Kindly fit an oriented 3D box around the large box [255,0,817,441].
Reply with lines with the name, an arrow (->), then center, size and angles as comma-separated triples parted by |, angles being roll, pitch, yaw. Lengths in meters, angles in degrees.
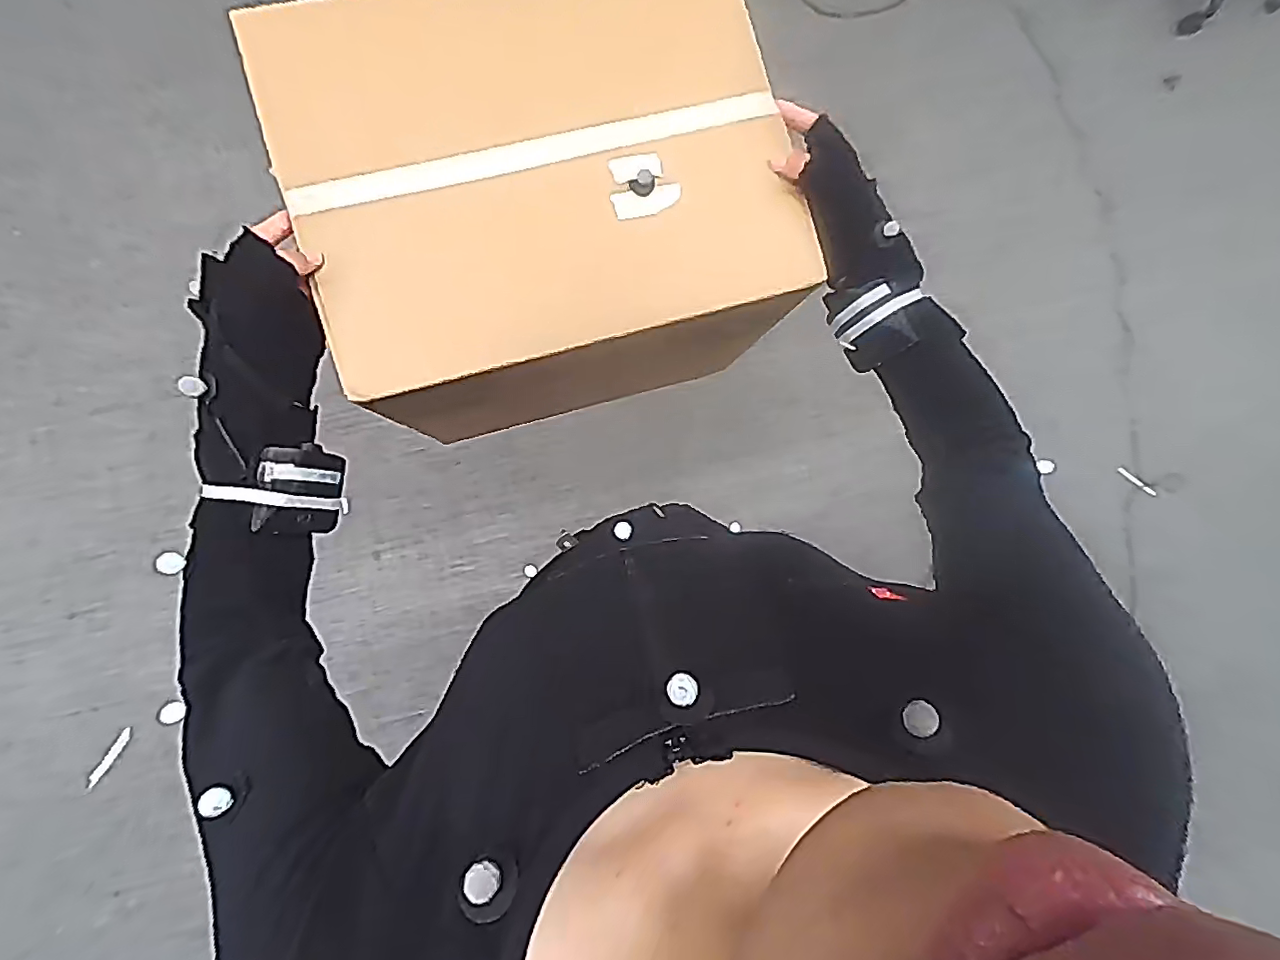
large box -> -0.094, -0.261, 0.598 | 0.408, 0.320, 0.320 | -17, 90, -8
